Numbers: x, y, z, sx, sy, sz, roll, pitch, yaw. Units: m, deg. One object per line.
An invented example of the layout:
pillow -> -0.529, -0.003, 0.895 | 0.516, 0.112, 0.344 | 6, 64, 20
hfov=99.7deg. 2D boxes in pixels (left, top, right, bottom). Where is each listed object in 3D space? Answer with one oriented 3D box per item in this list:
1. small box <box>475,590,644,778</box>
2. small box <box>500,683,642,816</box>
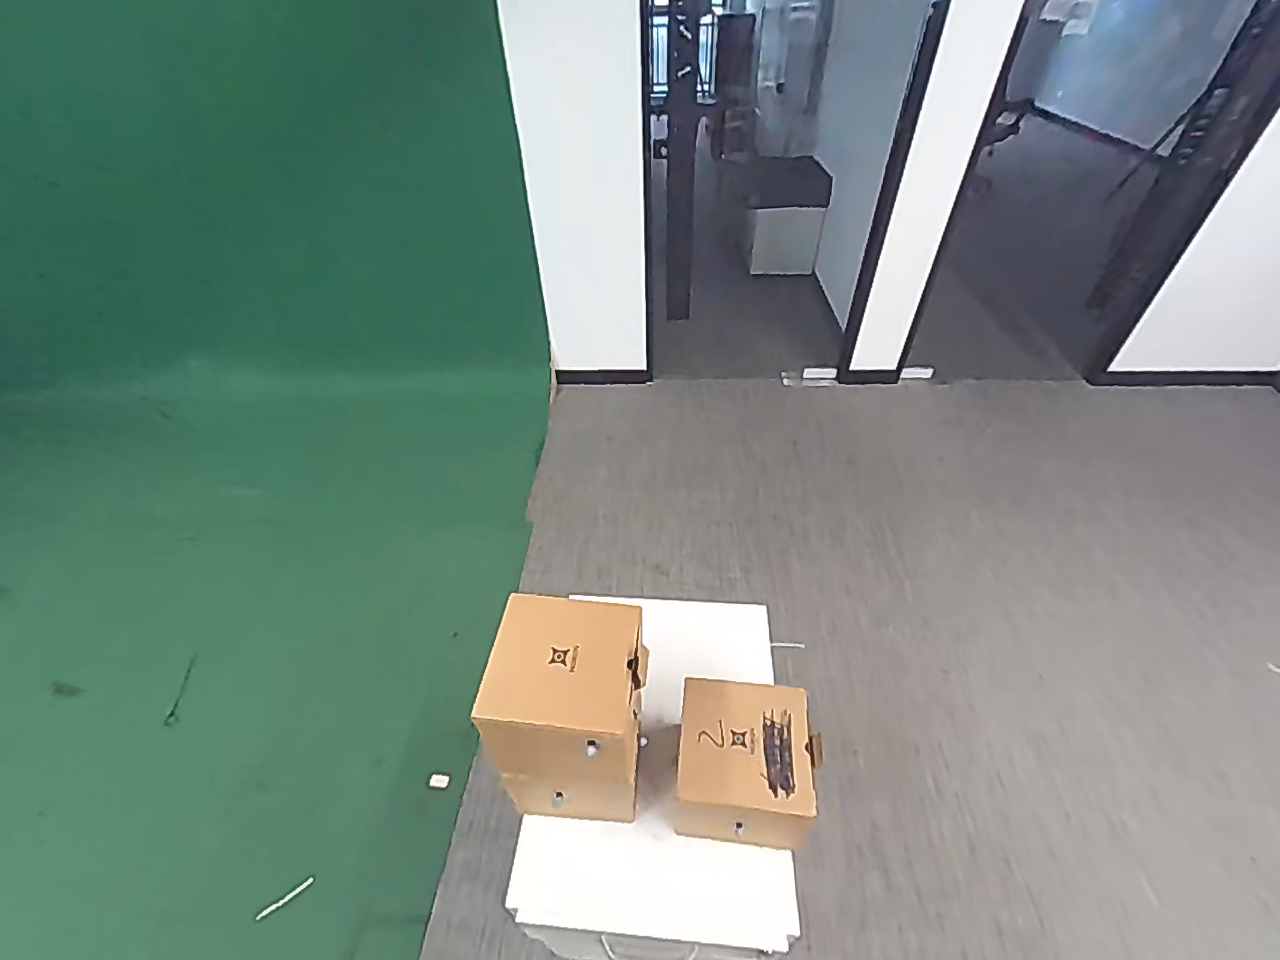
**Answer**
small box -> -0.091, 0.266, 0.704 | 0.179, 0.176, 0.168 | 5, 43, 3
small box -> -0.090, 0.386, 0.814 | 0.179, 0.176, 0.168 | 3, 43, 3
